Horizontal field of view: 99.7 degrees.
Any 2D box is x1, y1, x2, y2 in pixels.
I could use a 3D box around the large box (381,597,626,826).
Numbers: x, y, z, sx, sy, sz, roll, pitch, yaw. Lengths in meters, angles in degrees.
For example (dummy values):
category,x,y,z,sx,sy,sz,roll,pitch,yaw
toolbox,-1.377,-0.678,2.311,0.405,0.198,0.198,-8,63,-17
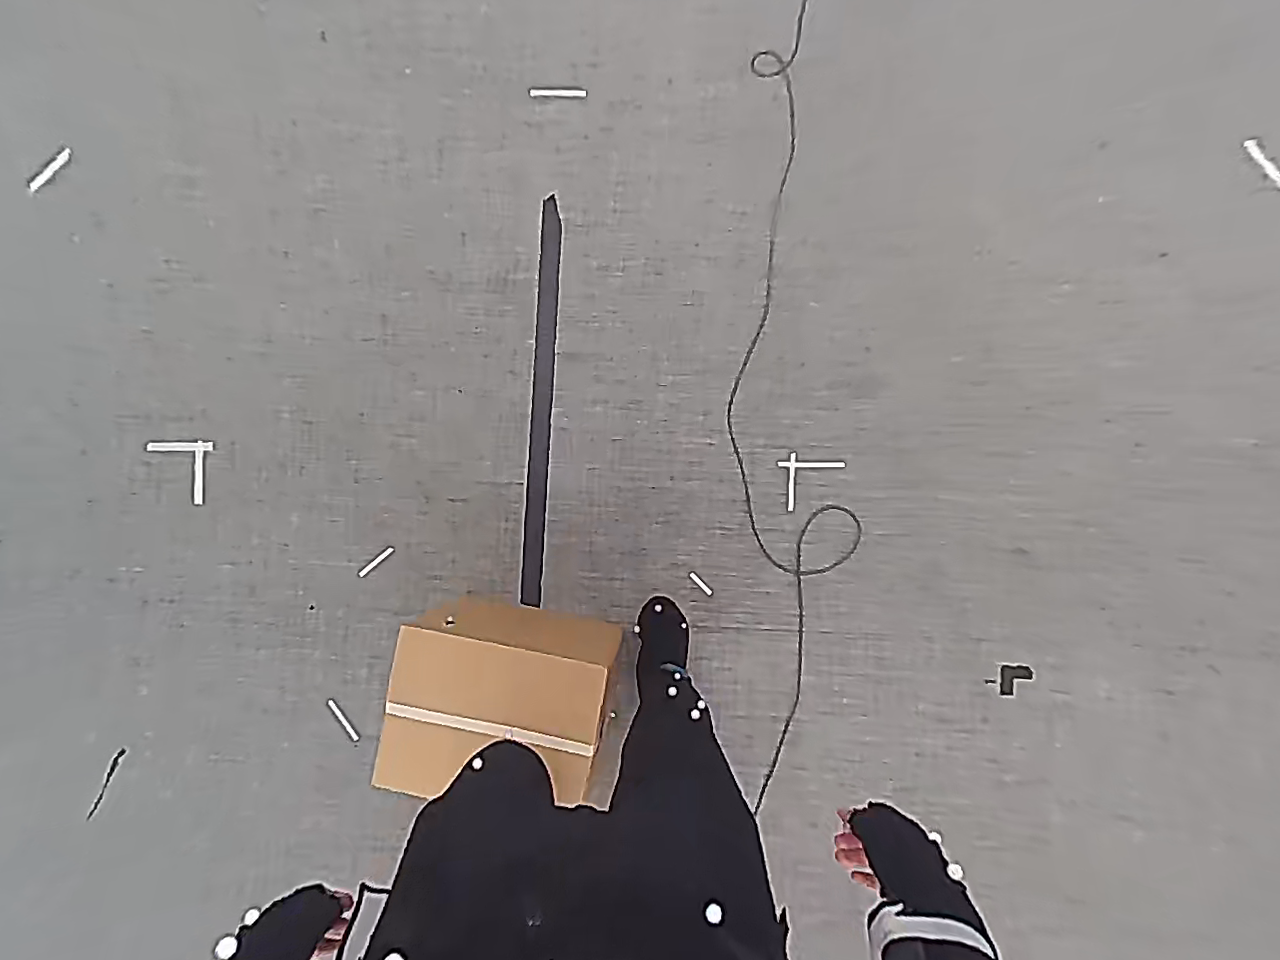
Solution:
category,x,y,z,sx,sy,sz,roll,pitch,yaw
large box,-0.264,0.459,1.155,0.408,0.320,0.320,11,91,4
